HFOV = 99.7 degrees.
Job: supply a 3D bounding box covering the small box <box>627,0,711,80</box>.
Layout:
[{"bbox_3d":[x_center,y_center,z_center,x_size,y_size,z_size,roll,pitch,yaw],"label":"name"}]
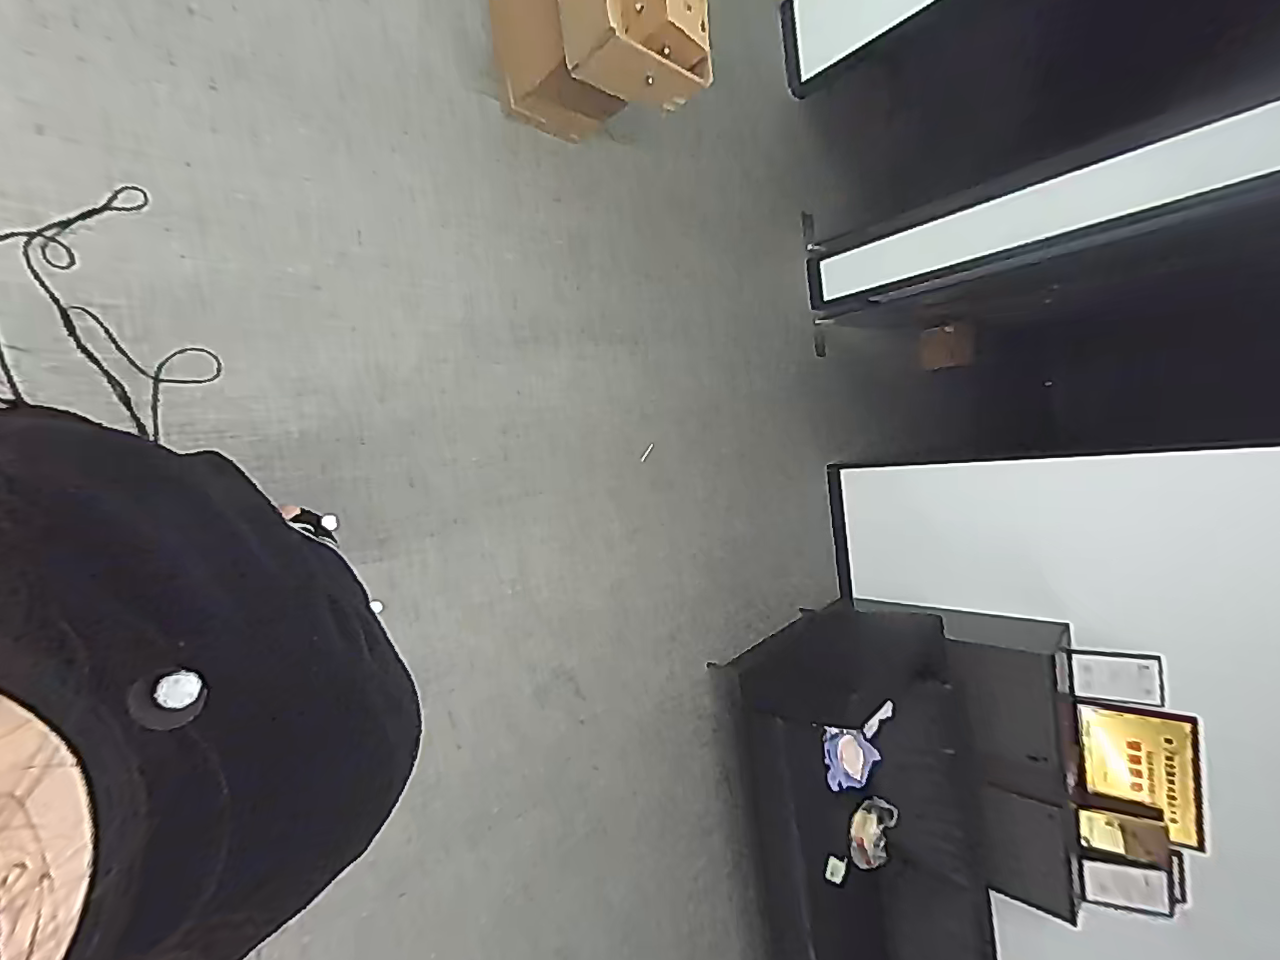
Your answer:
[{"bbox_3d":[0.074,-1.259,1.490,0.179,0.176,0.168,-2,90,-42],"label":"small box"}]
